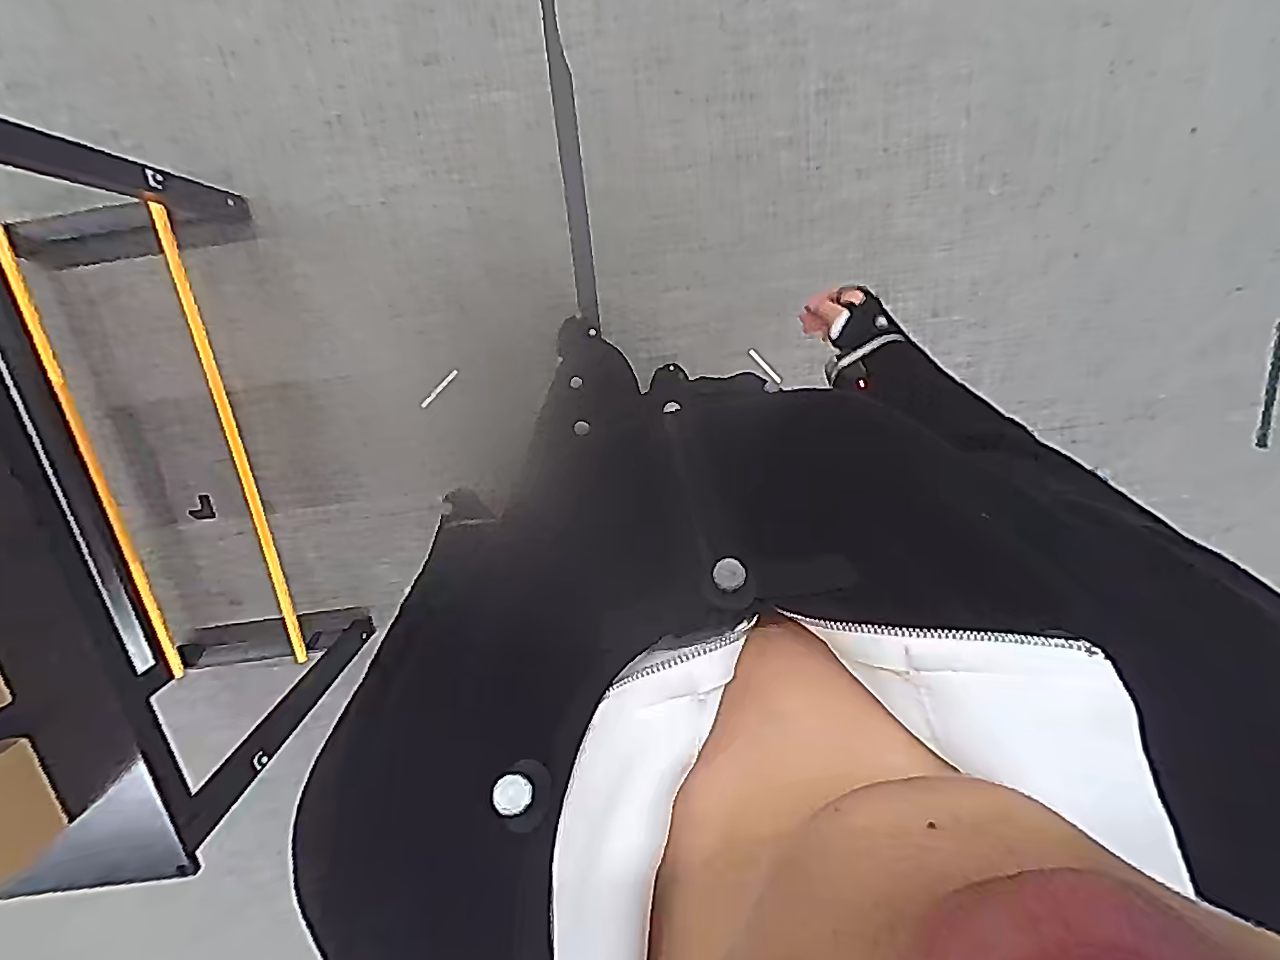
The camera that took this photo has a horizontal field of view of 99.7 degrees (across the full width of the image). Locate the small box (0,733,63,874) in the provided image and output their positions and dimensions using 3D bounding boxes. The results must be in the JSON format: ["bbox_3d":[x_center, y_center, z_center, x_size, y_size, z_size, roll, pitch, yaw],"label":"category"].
[{"bbox_3d":[-1.010,0.500,0.777,0.168,0.176,0.179,-7,105,0],"label":"small box"}]
